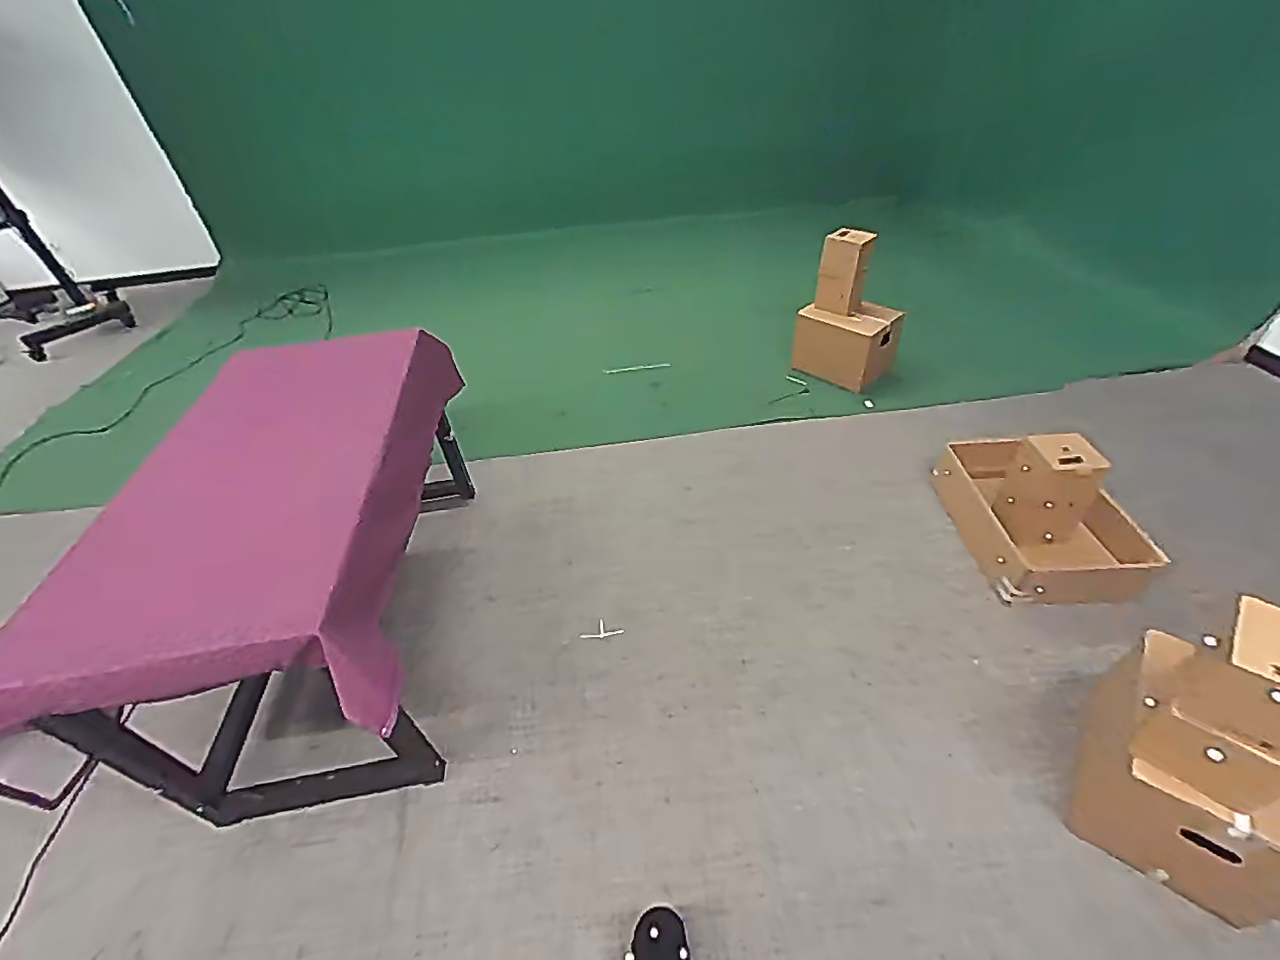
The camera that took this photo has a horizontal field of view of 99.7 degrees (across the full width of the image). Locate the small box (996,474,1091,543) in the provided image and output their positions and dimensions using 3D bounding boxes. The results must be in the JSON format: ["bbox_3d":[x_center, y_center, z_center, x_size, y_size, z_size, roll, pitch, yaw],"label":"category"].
[{"bbox_3d":[1.332,0.090,1.803,0.168,0.176,0.179,-4,41,4],"label":"small box"}]

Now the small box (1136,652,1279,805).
[{"bbox_3d":[1.090,0.468,1.009,0.168,0.176,0.179,-35,45,-28],"label":"small box"}]

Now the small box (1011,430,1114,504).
[{"bbox_3d":[1.315,-0.035,1.697,0.168,0.176,0.179,-3,40,4],"label":"small box"}]

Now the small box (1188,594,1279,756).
[{"bbox_3d":[1.079,0.335,0.911,0.168,0.176,0.179,26,50,36],"label":"small box"}]
